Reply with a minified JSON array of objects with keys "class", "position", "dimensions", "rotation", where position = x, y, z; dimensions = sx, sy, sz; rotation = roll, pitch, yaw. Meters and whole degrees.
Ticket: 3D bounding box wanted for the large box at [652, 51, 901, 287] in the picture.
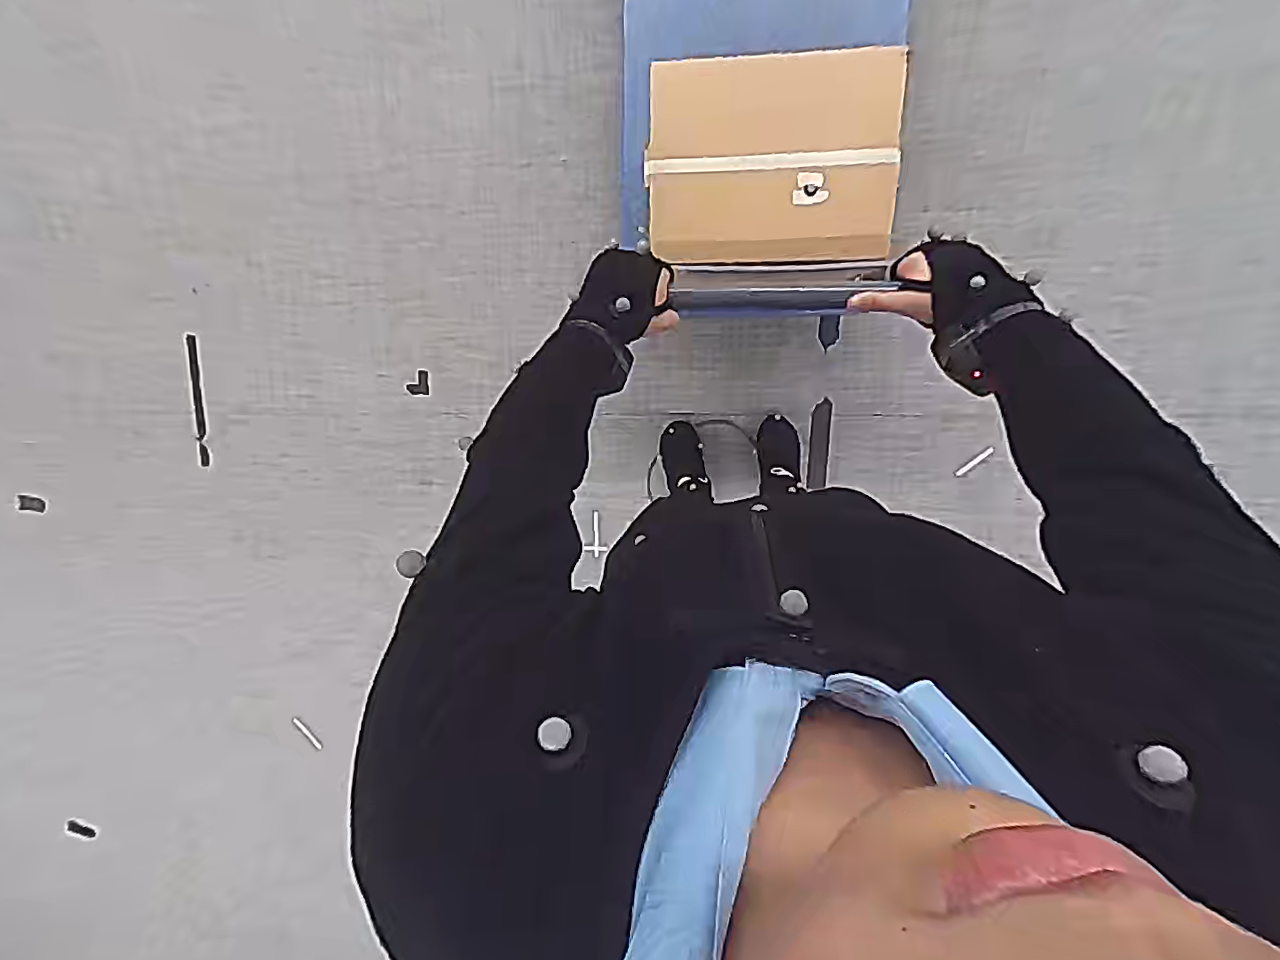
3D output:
[{"class":"large box","position":[0.236,-0.563,1.053],"dimensions":[0.408,0.320,0.320],"rotation":[1,104,7]}]
